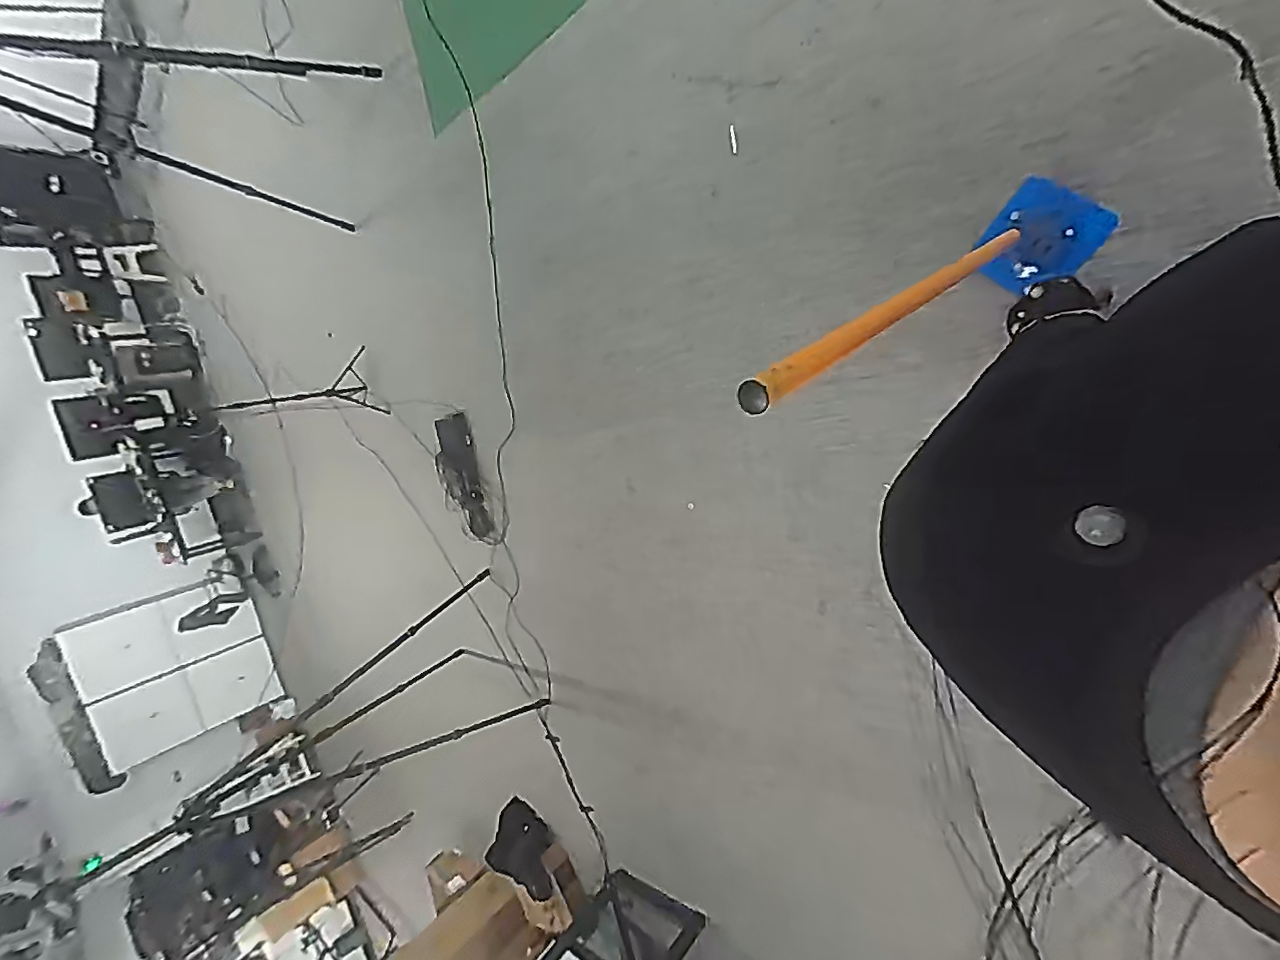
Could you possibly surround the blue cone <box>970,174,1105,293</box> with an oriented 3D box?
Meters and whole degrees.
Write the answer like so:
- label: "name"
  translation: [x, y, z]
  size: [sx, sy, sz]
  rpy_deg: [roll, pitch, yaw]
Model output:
- label: "blue cone"
  translation: [0.723, -0.462, 1.018]
  size: [0.192, 0.380, 0.193]
  rpy_deg: [43, 131, 20]
